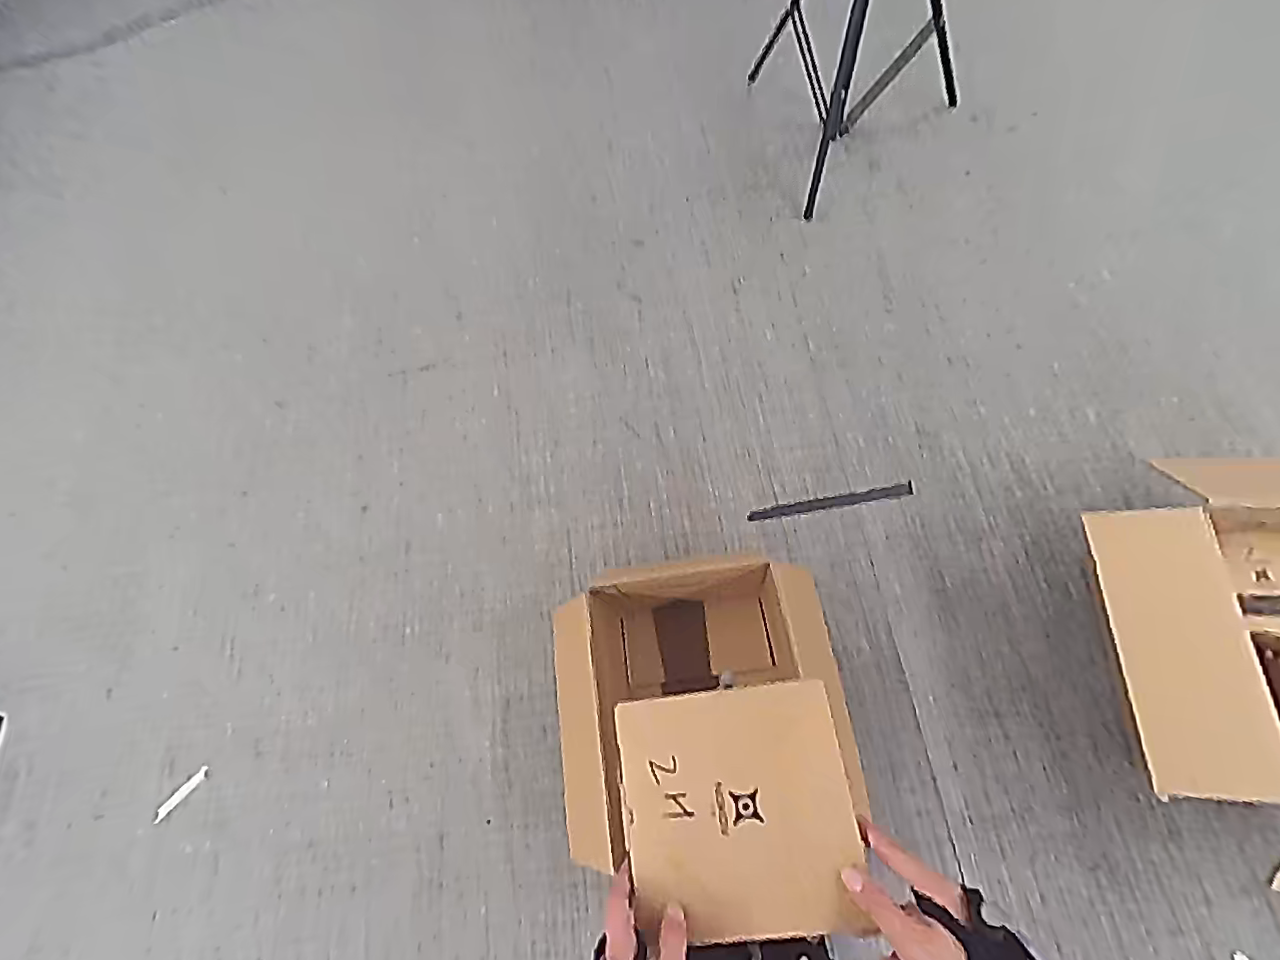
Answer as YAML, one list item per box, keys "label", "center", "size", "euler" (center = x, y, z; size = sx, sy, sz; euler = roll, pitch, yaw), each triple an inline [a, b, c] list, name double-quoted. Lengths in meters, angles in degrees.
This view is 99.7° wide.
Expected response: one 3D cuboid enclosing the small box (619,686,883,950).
- label: "small box"
  center: [0.088, 0.279, 0.483]
  size: [0.179, 0.176, 0.168]
  euler: [-10, 67, 7]
